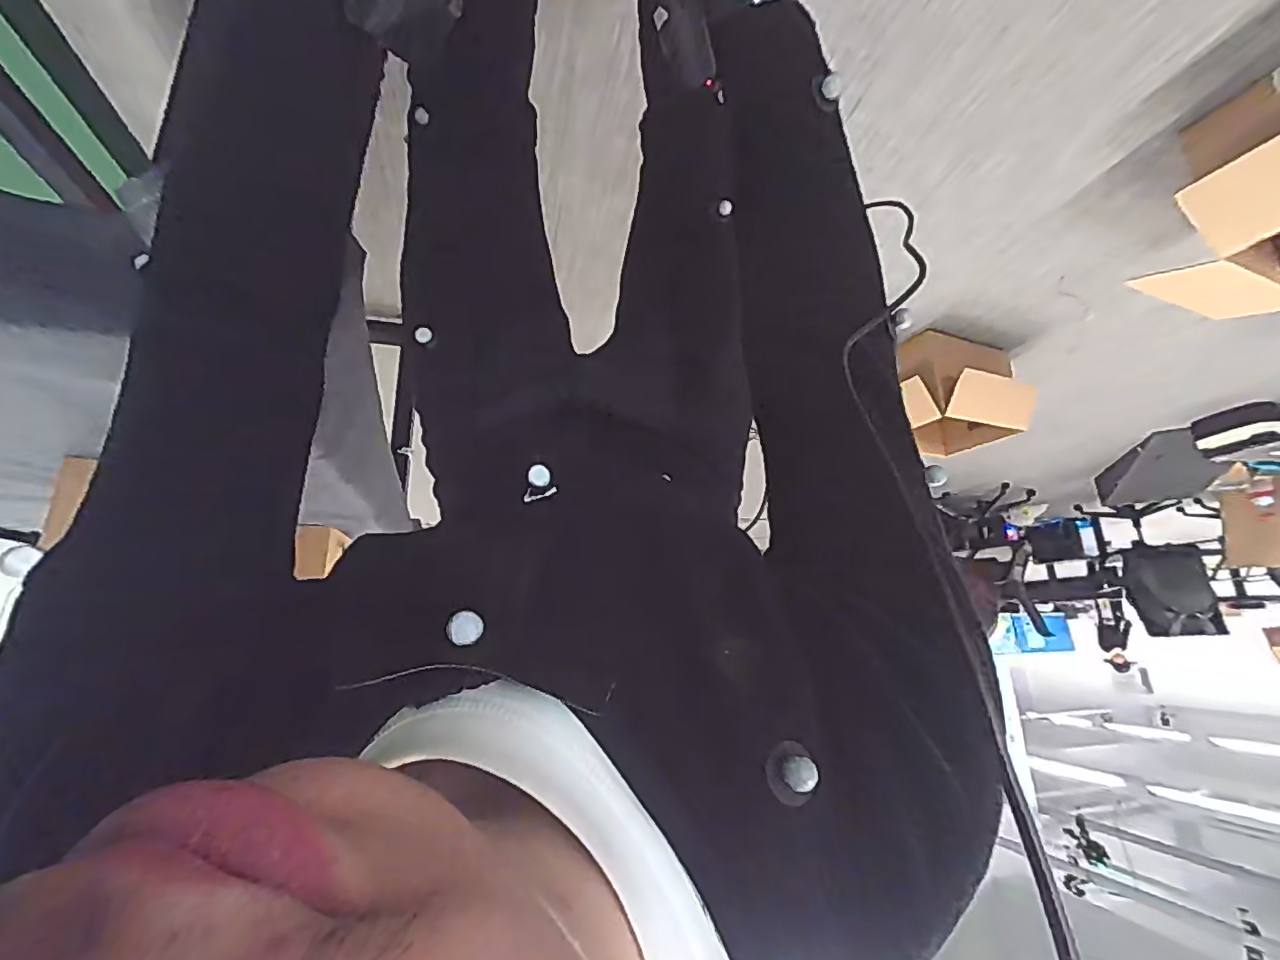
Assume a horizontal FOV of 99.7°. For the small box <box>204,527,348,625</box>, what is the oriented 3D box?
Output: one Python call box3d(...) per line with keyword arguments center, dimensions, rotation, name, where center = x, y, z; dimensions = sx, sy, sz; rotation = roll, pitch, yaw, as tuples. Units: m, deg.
box3d(center=(-0.689, 0.188, 1.045), dimensions=(0.179, 0.176, 0.168), rotation=(2, 164, -13), name="small box")
